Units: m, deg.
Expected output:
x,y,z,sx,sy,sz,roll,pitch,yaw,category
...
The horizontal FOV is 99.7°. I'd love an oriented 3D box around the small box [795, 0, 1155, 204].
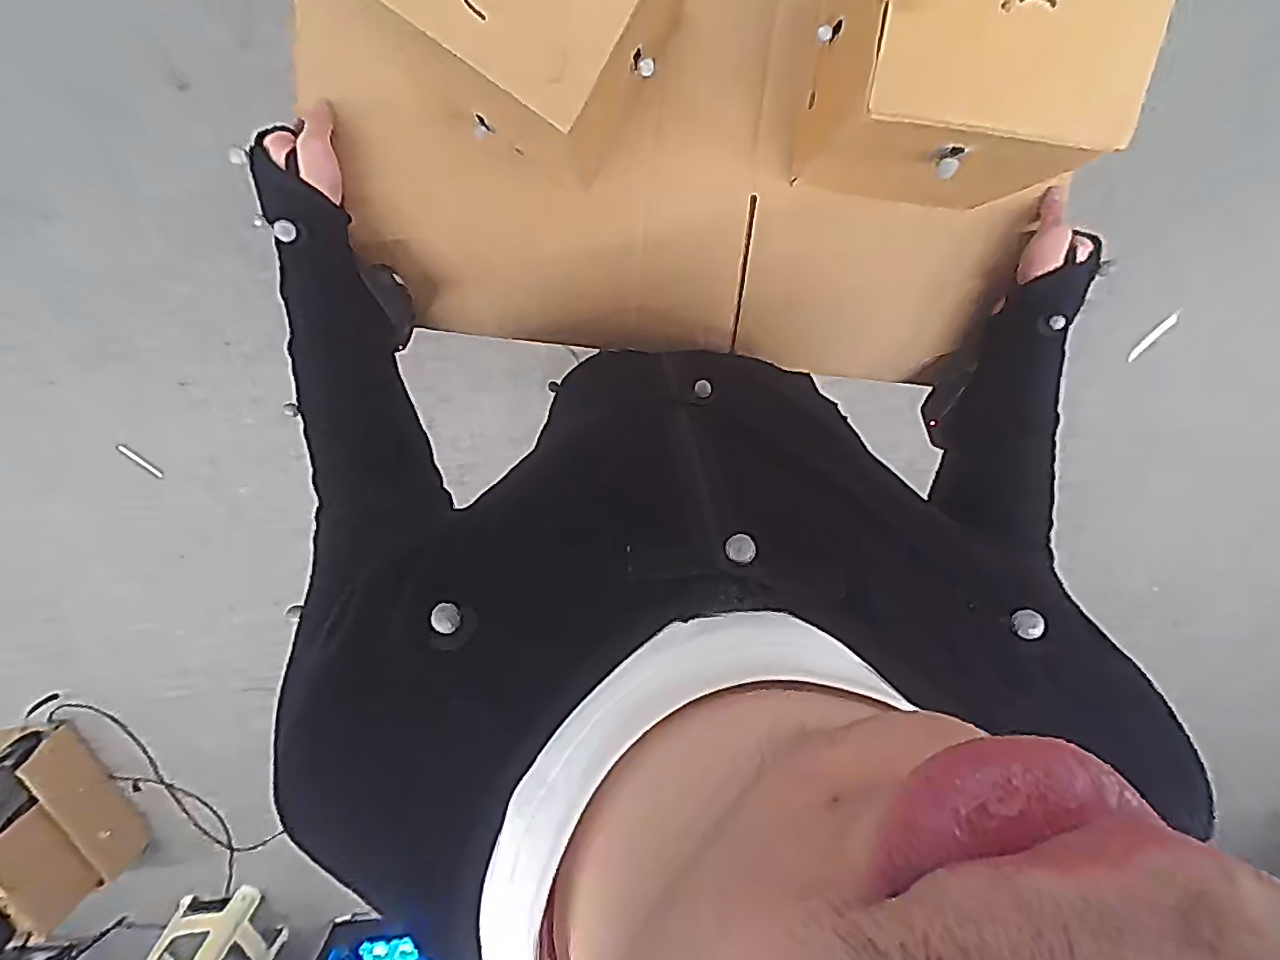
x,y,z,sx,sy,sz,roll,pitch,yaw,category
0.242,-0.328,0.420,0.179,0.176,0.168,7,104,-2,small box
